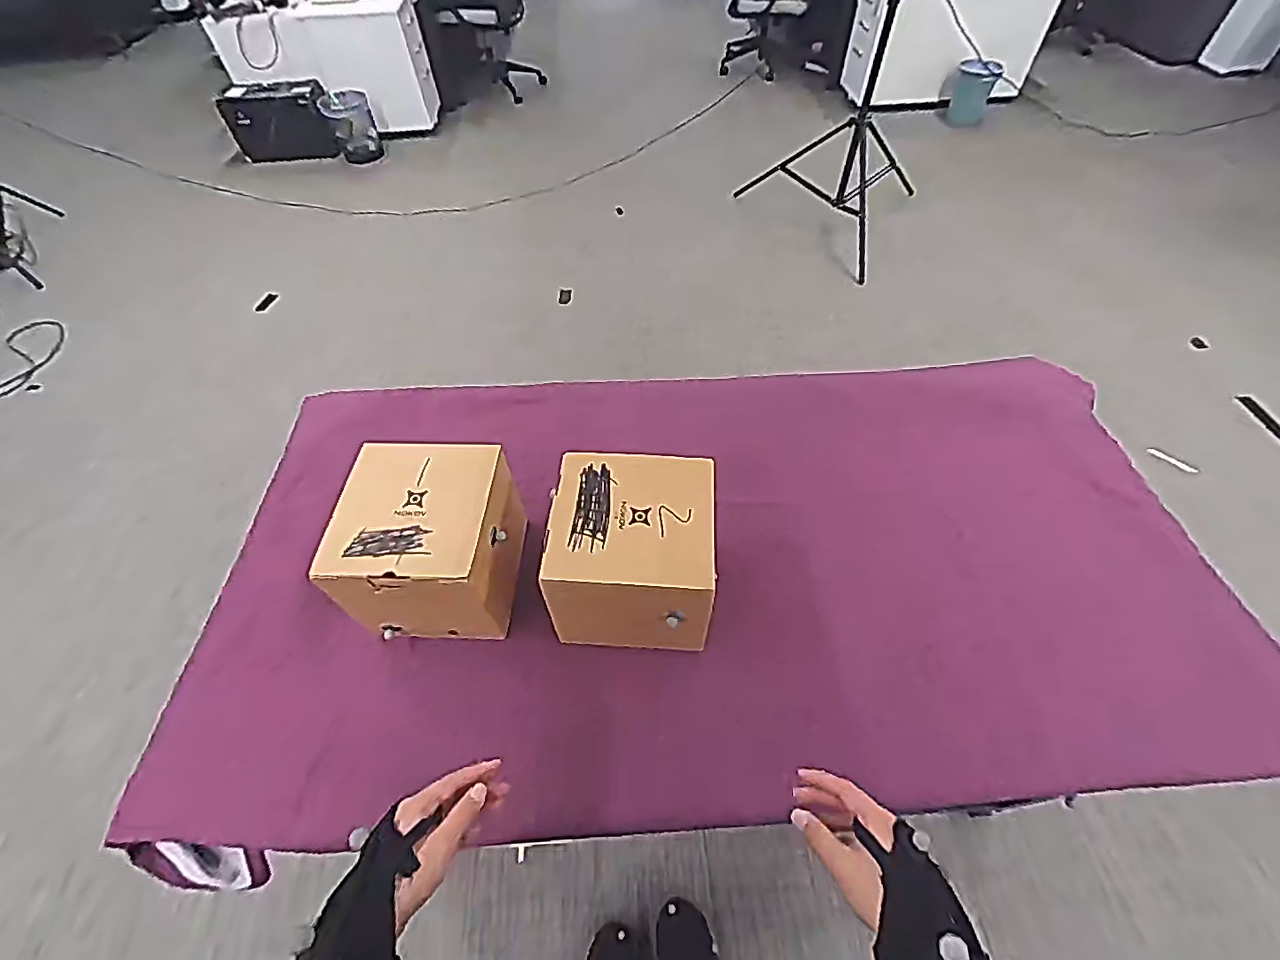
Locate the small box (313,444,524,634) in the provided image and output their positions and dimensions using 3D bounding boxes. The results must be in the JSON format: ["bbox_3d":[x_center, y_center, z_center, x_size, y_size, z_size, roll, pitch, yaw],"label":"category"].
[{"bbox_3d":[-0.245,0.076,0.654,0.168,0.176,0.179,1,53,2],"label":"small box"}]
